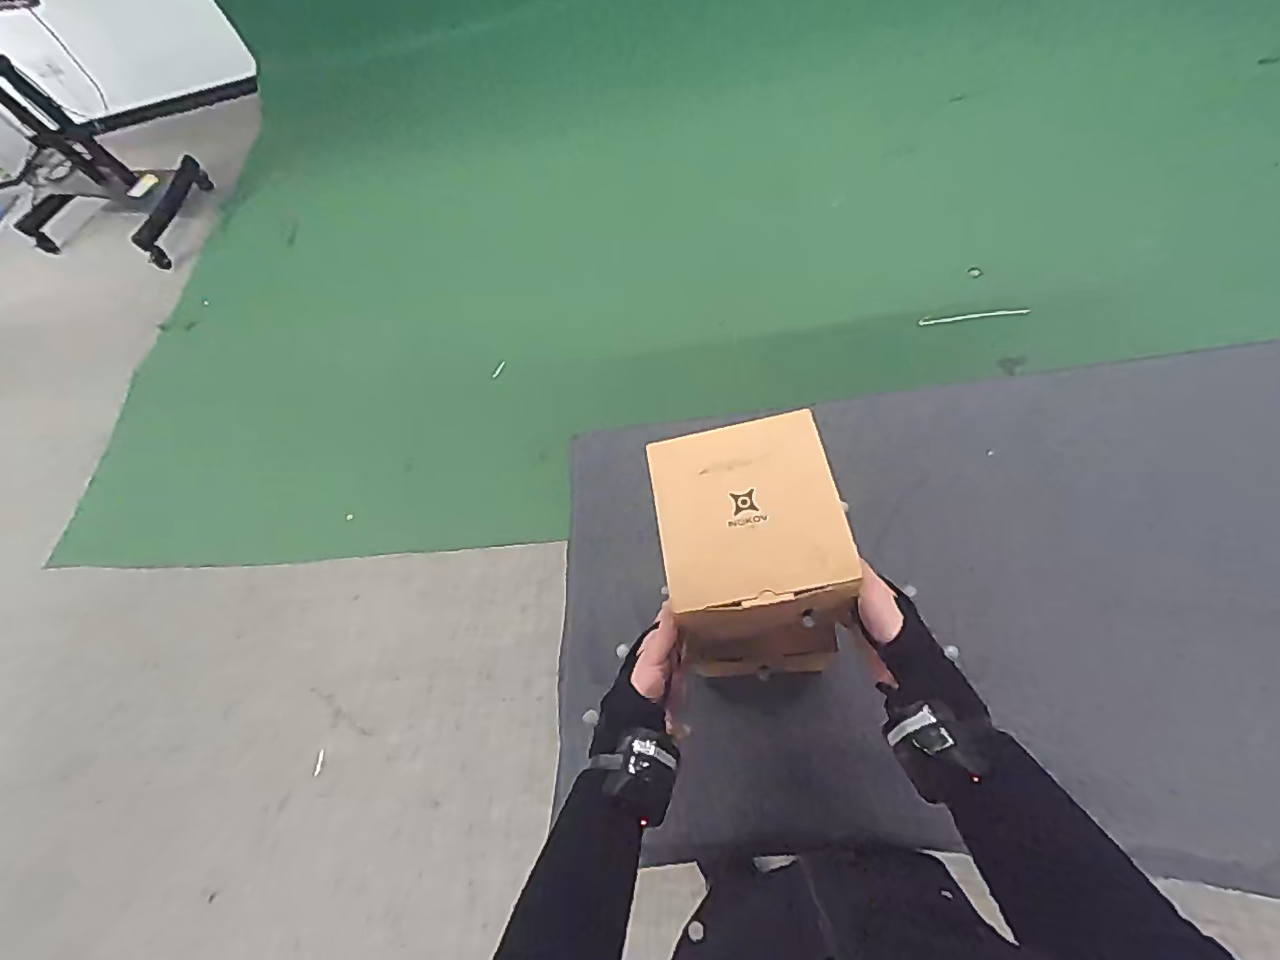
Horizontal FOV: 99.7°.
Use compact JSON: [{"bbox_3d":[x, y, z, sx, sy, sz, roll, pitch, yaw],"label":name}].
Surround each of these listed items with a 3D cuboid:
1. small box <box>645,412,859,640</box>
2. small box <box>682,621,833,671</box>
[{"bbox_3d":[0.109,0.061,0.563,0.168,0.176,0.179,-12,61,6],"label":"small box"},{"bbox_3d":[0.142,0.149,0.698,0.168,0.176,0.179,-7,65,8],"label":"small box"}]
